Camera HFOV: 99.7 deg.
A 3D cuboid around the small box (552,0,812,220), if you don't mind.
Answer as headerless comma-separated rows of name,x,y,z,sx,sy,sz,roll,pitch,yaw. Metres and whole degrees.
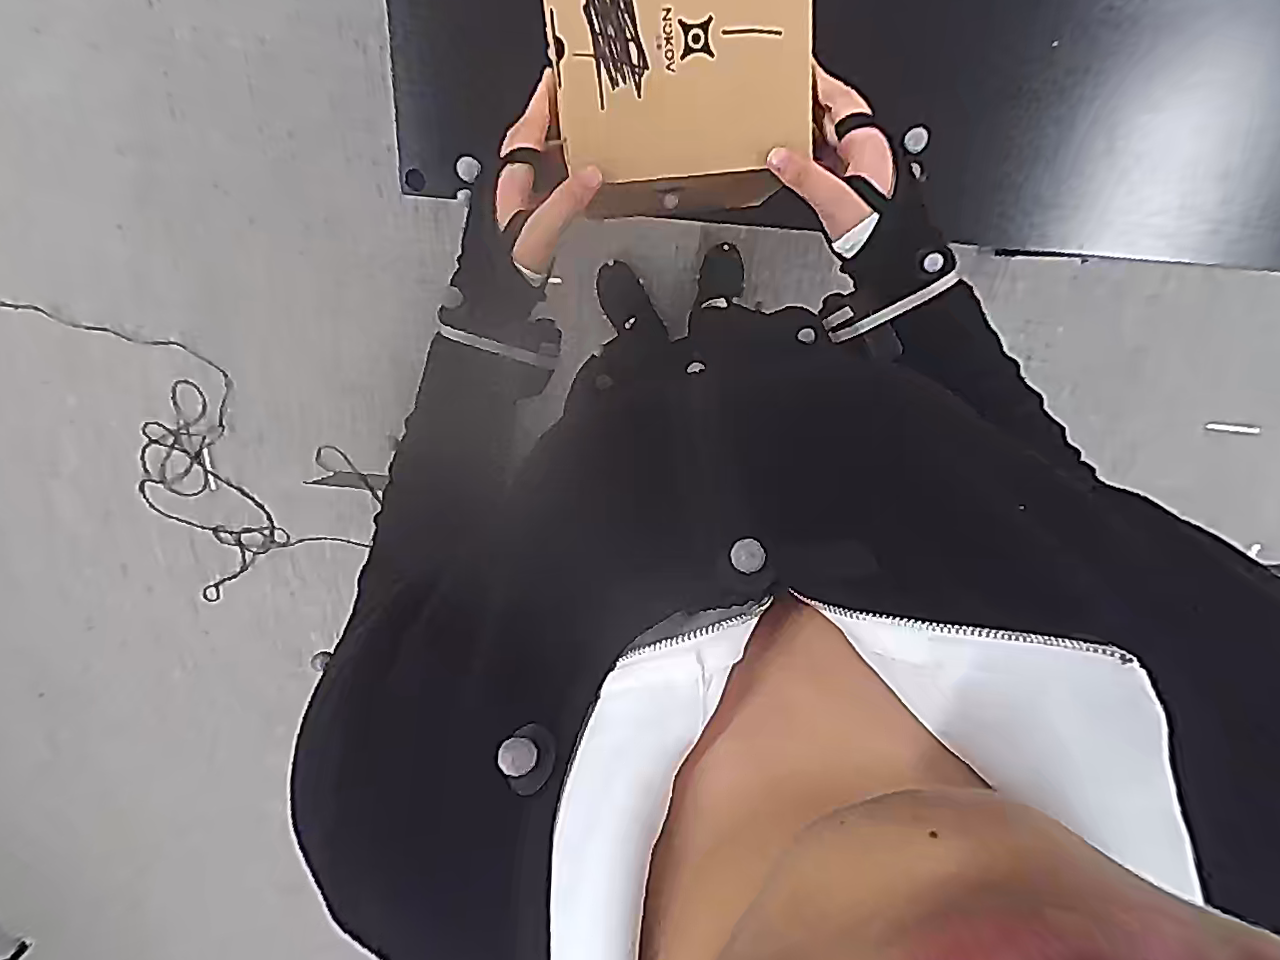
small box,0.030,-0.322,0.446,0.179,0.176,0.168,-6,107,0
